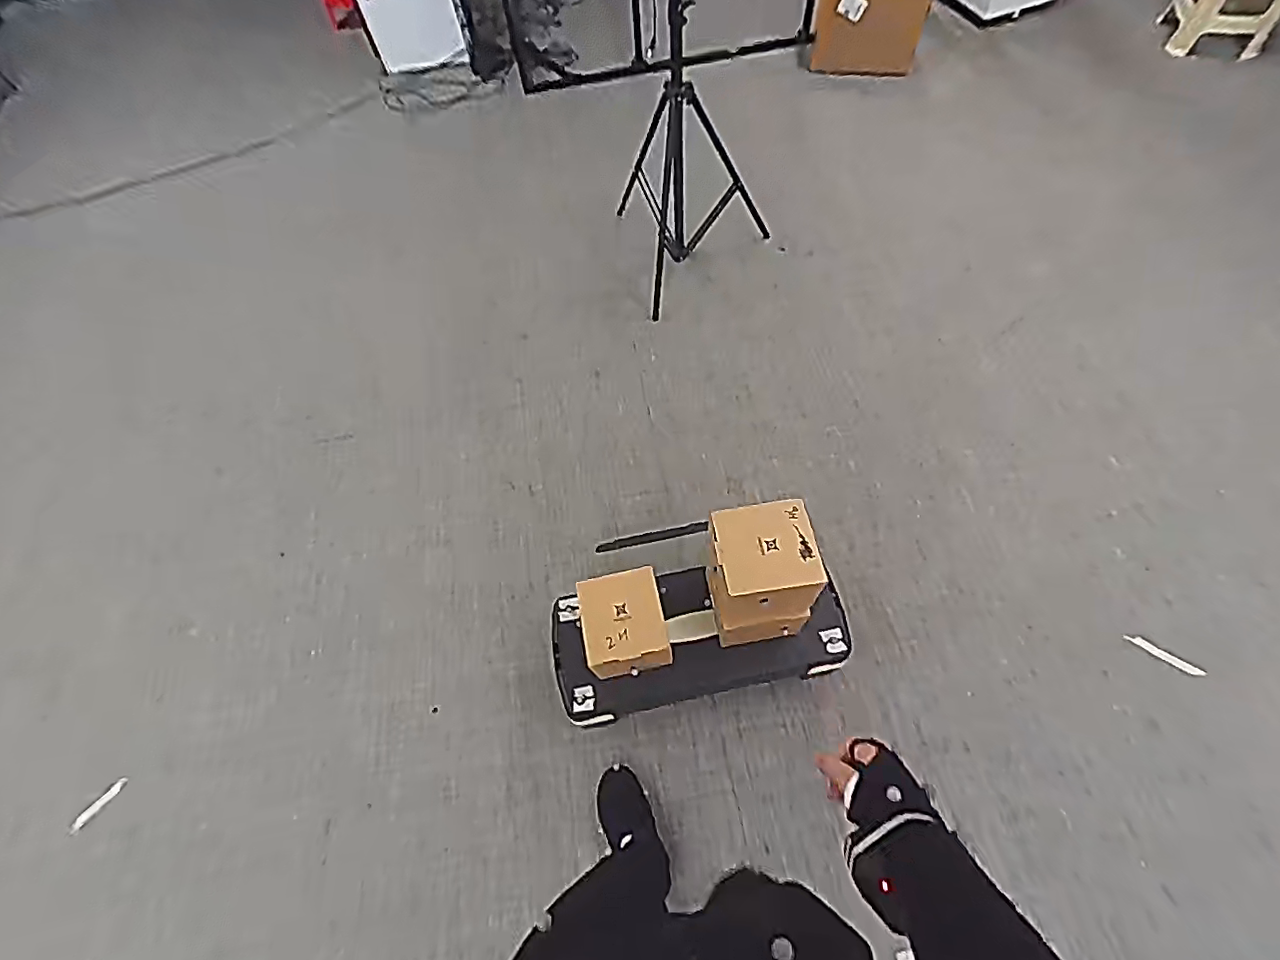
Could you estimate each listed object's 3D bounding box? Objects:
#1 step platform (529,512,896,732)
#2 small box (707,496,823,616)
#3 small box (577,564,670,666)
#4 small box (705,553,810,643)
[{"bbox_3d":[0.133,0.293,1.107,0.684,0.204,0.286,-12,61,-2],"label":"step platform"},{"bbox_3d":[0.227,0.151,1.030,0.179,0.176,0.168,-9,62,1],"label":"small box"},{"bbox_3d":[-0.035,0.302,1.155,0.168,0.176,0.179,-12,62,-2],"label":"small box"},{"bbox_3d":[0.240,0.245,1.164,0.179,0.176,0.168,-12,61,-2],"label":"small box"}]
